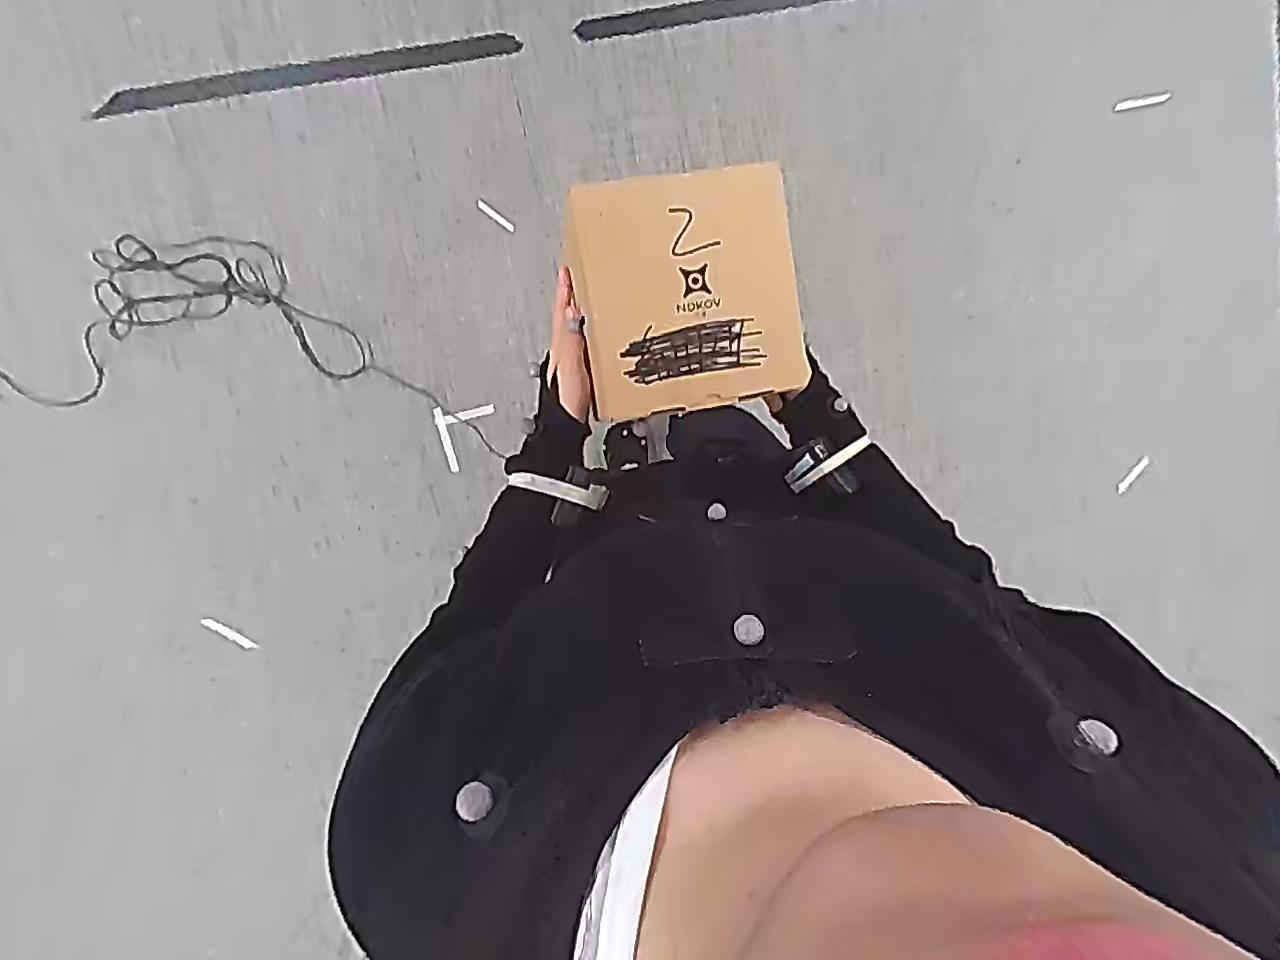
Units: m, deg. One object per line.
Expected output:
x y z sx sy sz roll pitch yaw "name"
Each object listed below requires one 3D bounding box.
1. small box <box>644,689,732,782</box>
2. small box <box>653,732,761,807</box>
0.107 0.572 1.165 0.168 0.176 0.179 -11 98 -4 "small box"
0.125 0.595 1.003 0.168 0.176 0.179 -12 99 -4 "small box"
